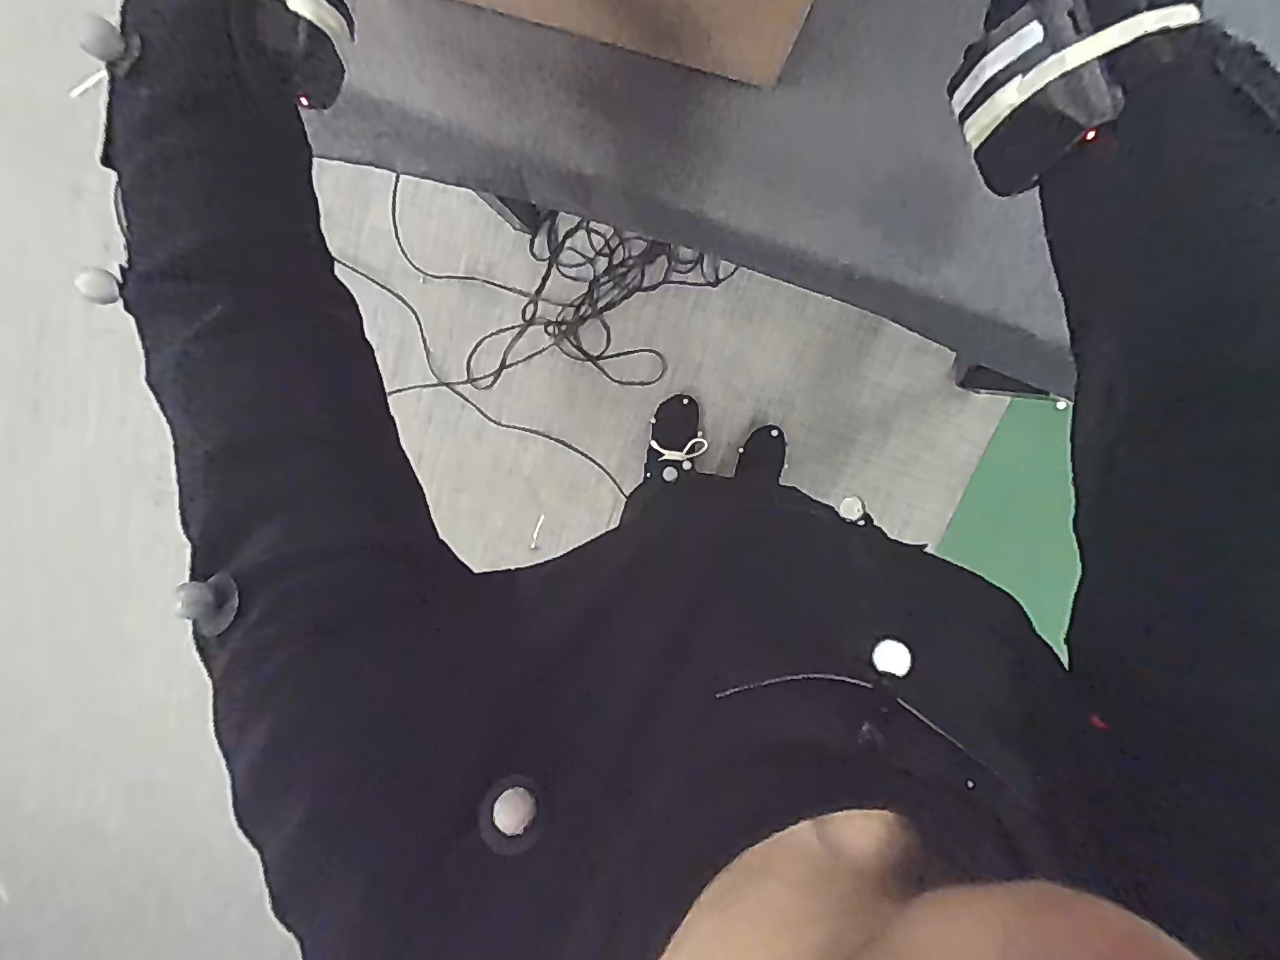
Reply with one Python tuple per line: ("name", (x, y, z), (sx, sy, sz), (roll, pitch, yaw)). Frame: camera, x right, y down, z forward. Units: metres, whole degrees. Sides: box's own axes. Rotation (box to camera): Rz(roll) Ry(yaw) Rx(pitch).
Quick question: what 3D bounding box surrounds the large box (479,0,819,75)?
("large box", (-0.023, -0.547, 0.346), (0.408, 0.320, 0.320), (13, 103, -4))
